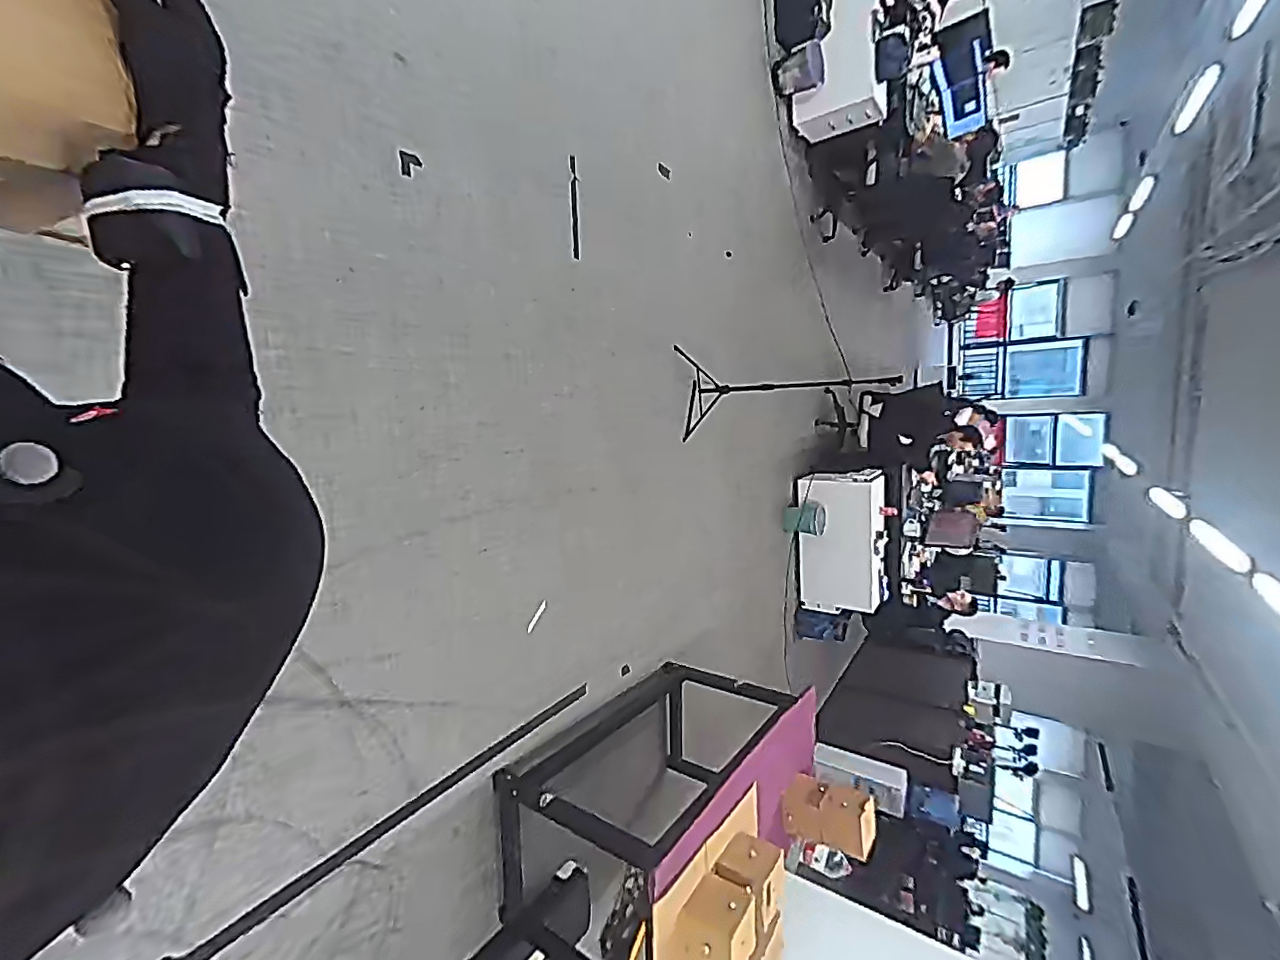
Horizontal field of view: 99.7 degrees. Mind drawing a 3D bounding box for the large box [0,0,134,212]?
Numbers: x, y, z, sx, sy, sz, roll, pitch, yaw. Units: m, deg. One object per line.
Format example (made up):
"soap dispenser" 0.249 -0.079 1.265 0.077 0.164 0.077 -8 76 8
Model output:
"large box" -0.599 -0.378 0.287 0.408 0.320 0.320 -10 108 -58
